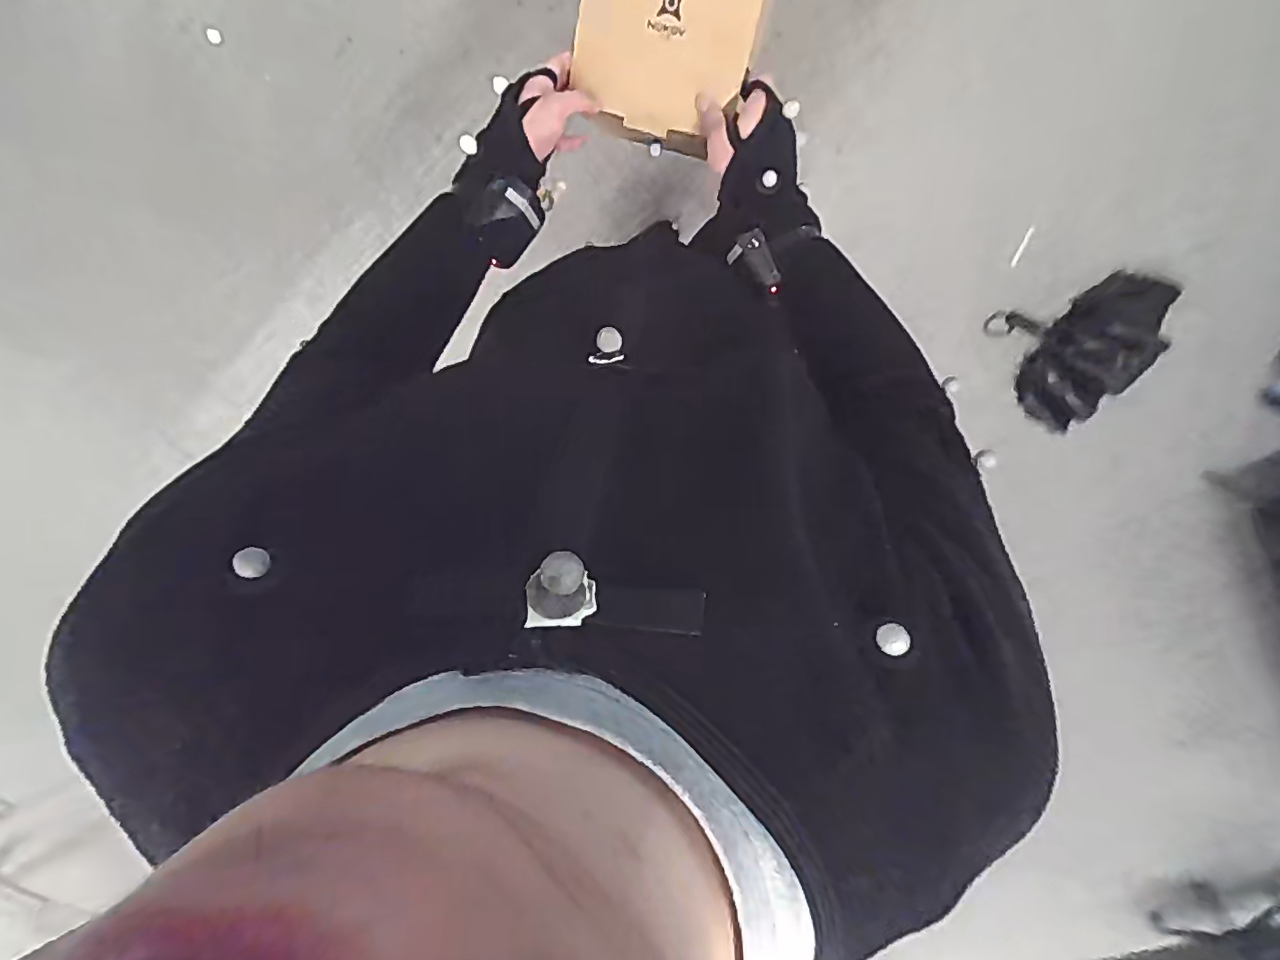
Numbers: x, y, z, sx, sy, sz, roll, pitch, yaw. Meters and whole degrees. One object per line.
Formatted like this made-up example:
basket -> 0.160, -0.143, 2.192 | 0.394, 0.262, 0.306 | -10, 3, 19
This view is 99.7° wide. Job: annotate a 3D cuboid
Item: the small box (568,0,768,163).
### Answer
small box -> 0.036, -0.455, 0.574 | 0.168, 0.176, 0.179 | 15, 116, 3
